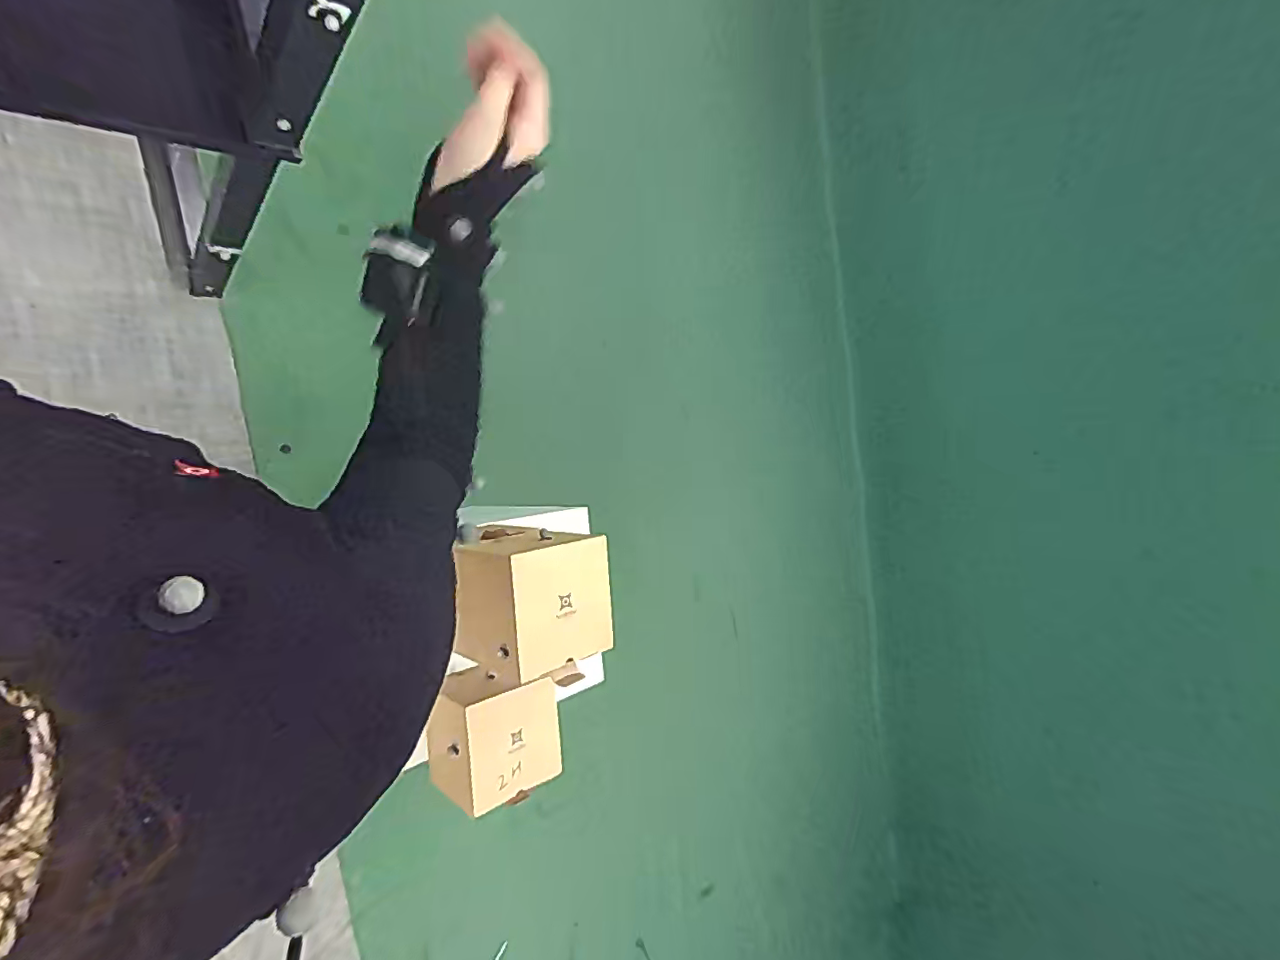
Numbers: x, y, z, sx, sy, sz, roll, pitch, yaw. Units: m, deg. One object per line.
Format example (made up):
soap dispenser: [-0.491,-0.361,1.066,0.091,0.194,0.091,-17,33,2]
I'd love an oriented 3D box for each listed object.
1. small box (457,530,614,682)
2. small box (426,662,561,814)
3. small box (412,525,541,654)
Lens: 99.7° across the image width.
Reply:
small box: [-0.159,0.172,0.810,0.168,0.176,0.179,-8,96,-44]
small box: [-0.256,0.423,0.933,0.168,0.176,0.179,-5,92,-43]
small box: [-0.274,0.174,0.928,0.168,0.176,0.179,-9,96,-43]
